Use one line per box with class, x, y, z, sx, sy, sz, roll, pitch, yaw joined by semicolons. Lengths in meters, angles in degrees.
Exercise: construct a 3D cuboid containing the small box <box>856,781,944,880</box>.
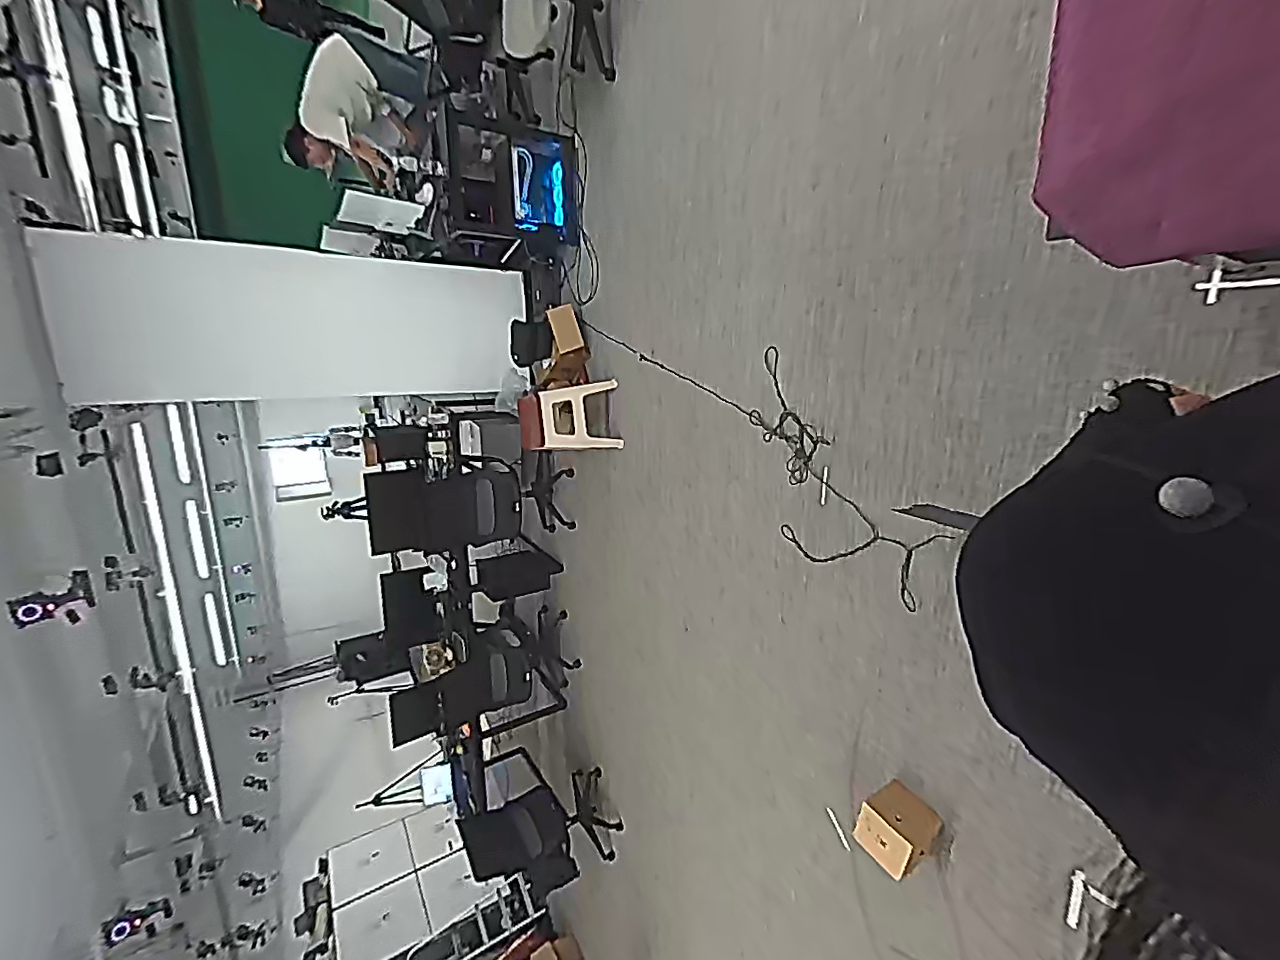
small box;0.836;1.115;1.736;0.179;0.176;0.168;34;124;51
